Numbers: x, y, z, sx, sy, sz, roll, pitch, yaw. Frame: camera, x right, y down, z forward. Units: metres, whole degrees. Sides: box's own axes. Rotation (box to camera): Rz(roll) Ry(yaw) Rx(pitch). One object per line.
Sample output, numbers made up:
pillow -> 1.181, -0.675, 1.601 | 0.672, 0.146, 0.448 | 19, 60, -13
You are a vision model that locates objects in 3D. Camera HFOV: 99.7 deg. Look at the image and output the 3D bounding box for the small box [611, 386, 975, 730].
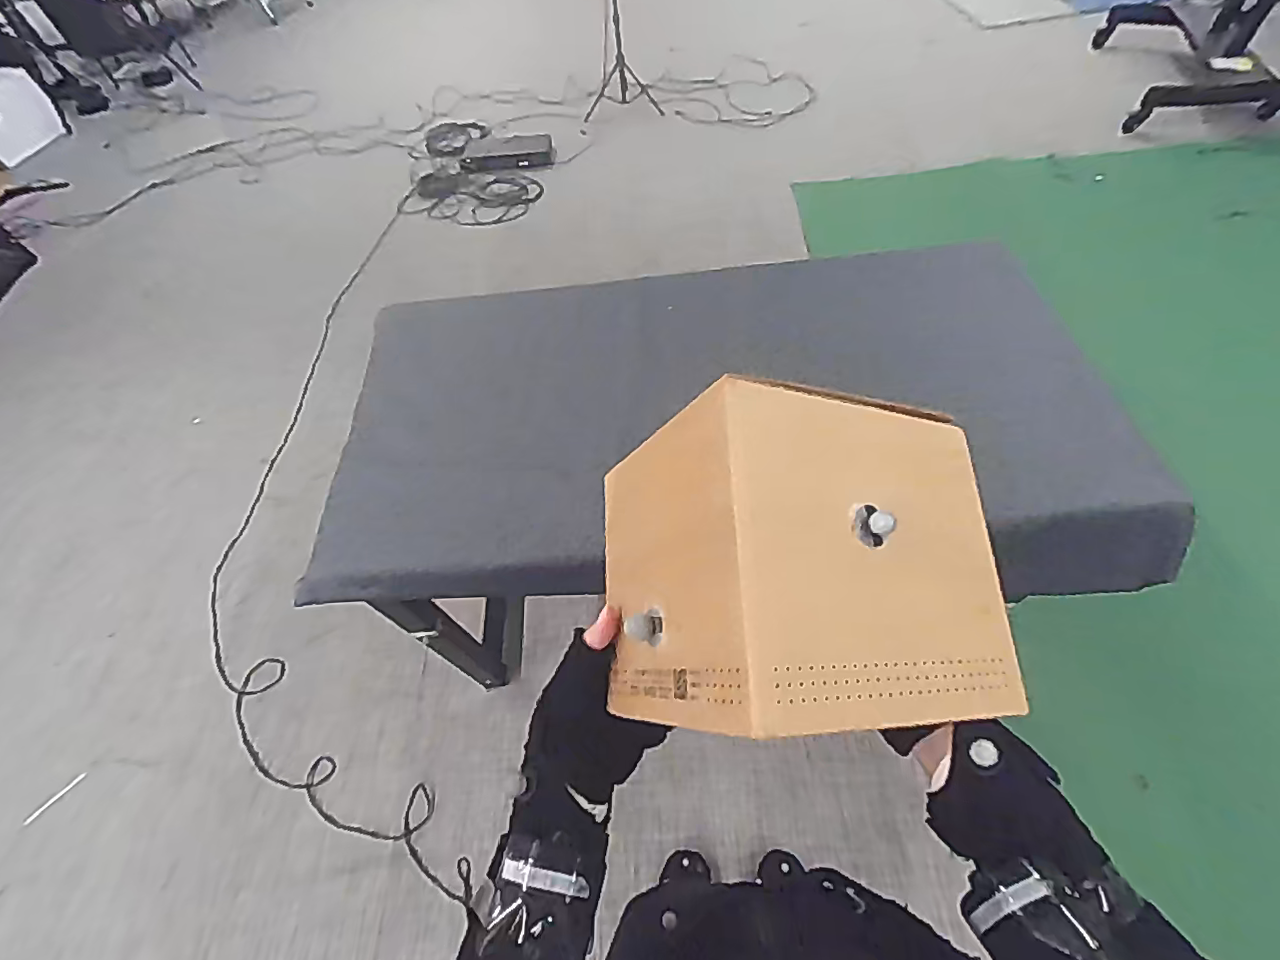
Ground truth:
small box -> 0.087, 0.060, 0.360 | 0.179, 0.168, 0.176 | 6, 70, -24
